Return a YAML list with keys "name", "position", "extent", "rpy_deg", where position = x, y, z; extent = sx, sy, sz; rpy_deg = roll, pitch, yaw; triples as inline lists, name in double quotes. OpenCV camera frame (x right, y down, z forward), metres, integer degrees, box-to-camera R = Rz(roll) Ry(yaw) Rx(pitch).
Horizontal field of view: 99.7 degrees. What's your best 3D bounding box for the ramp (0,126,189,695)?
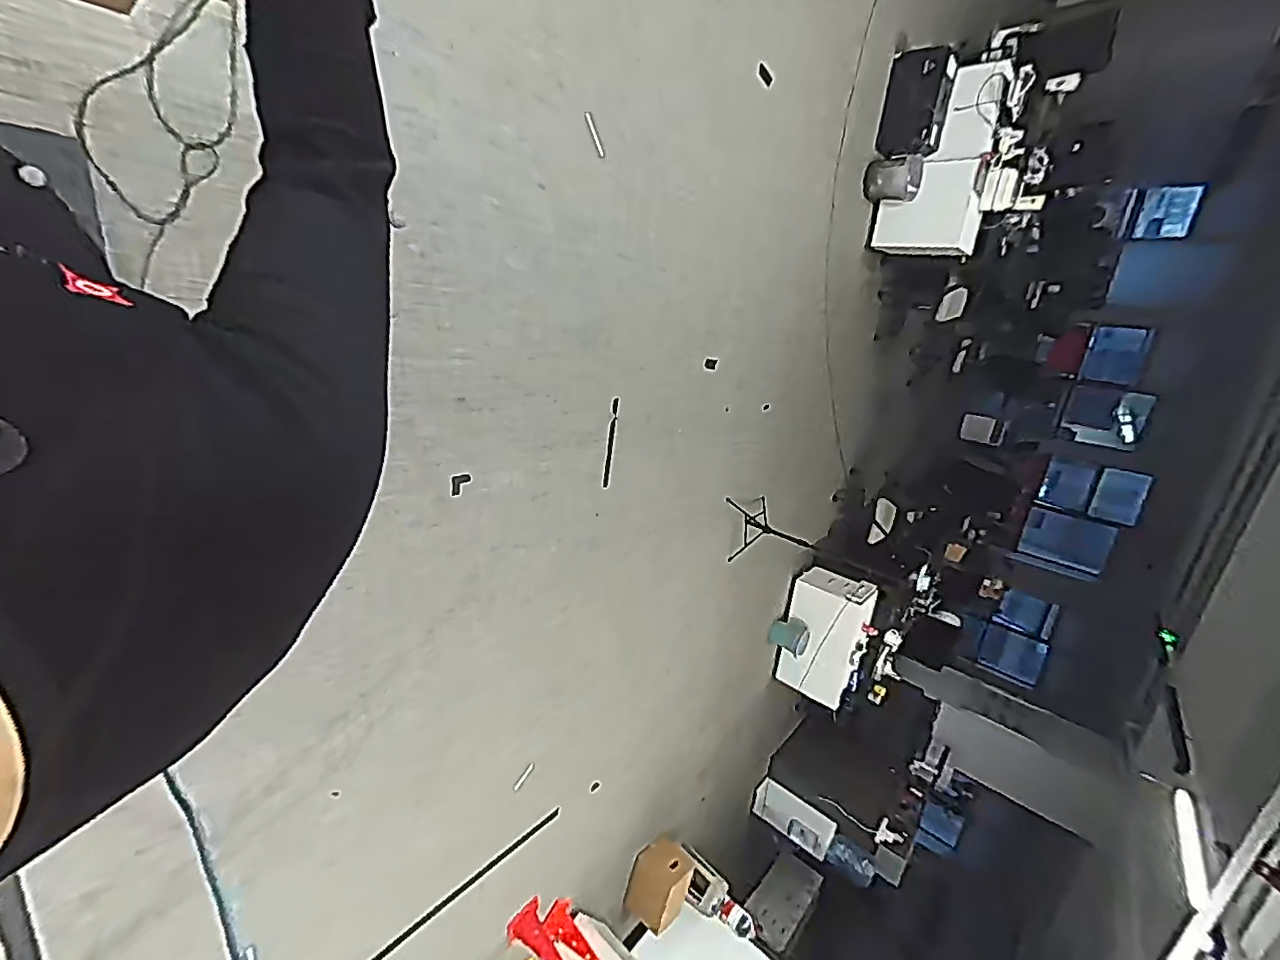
- name: "ramp"
  position: [-1.177, -0.098, 0.924]
  extent: [0.509, 0.206, 0.991]
  rpy_deg: [-15, 118, -46]
